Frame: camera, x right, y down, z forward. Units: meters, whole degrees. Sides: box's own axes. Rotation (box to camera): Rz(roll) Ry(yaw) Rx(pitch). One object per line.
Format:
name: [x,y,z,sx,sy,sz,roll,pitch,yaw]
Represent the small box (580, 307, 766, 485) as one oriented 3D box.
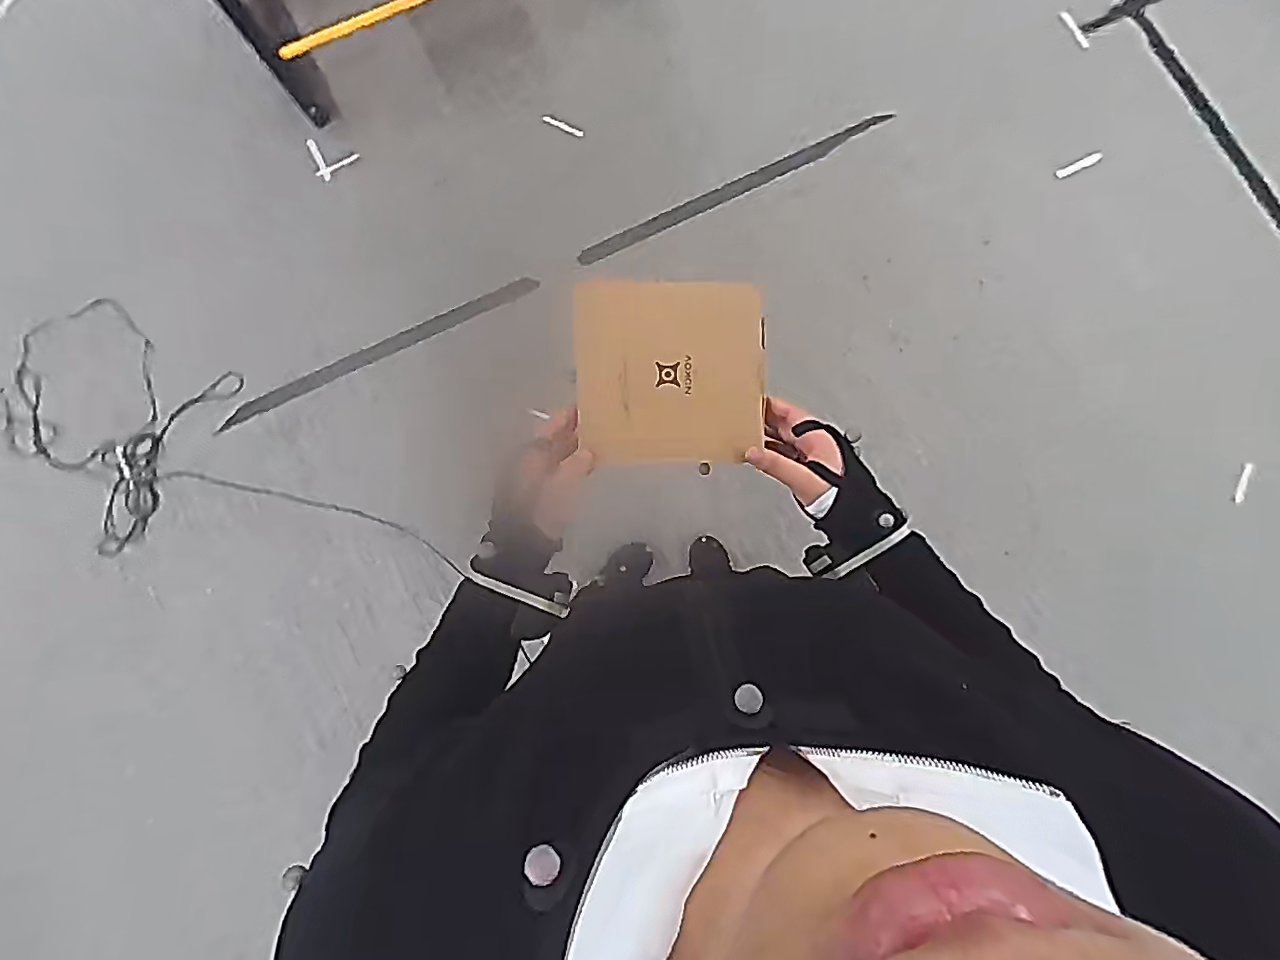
small box: [0.028,-0.085,0.594,0.179,0.176,0.168,-3,93,-2]
